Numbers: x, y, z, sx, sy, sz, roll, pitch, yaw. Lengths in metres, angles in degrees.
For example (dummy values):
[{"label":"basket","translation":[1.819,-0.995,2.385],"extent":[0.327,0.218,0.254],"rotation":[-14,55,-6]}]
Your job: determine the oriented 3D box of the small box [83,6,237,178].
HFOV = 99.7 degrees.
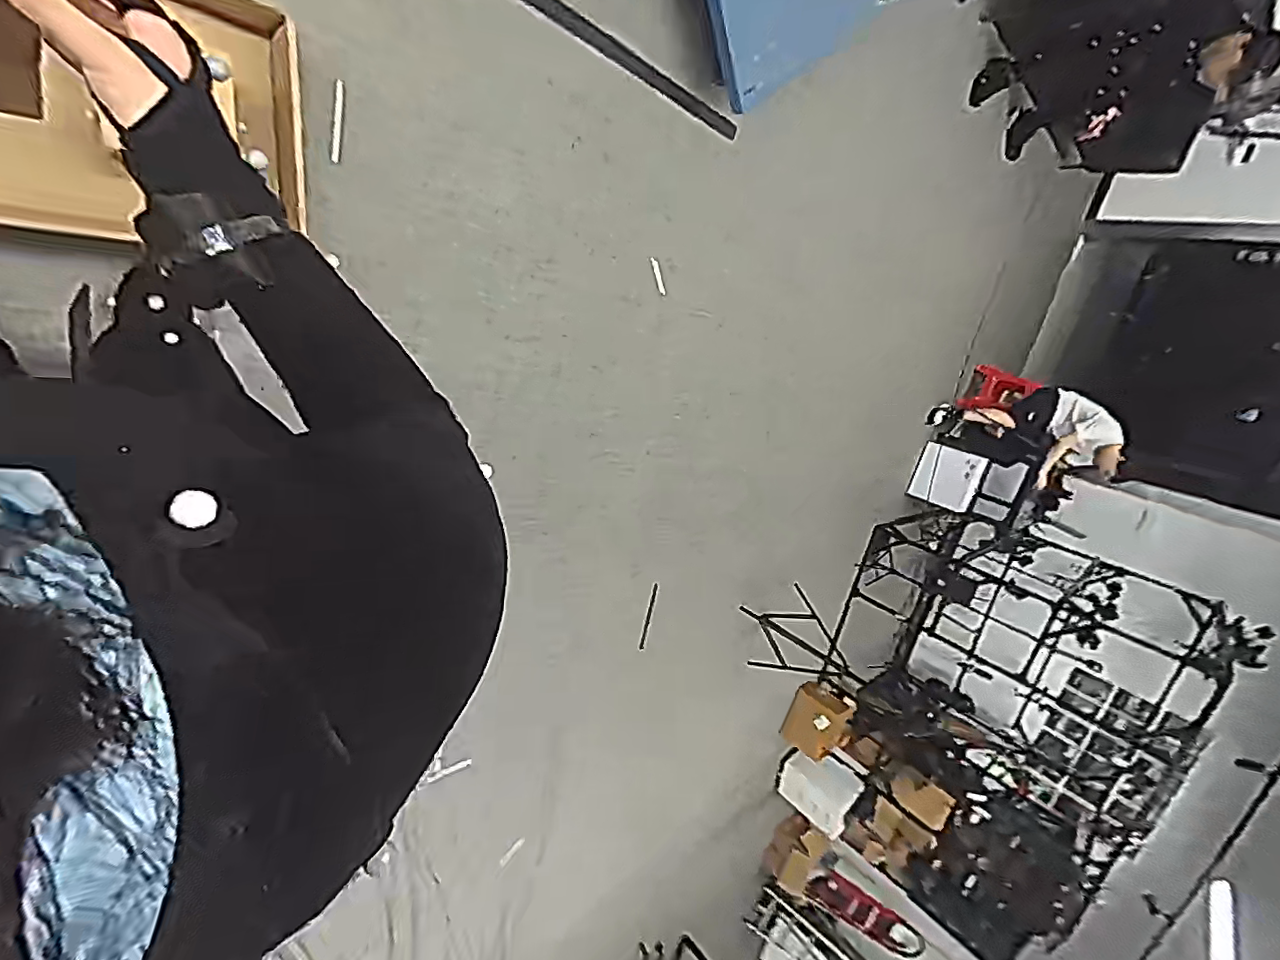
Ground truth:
[{"label":"small box","translation":[-0.776,-0.609,0.877],"extent":[0.168,0.176,0.179],"rotation":[-9,117,-42]}]
